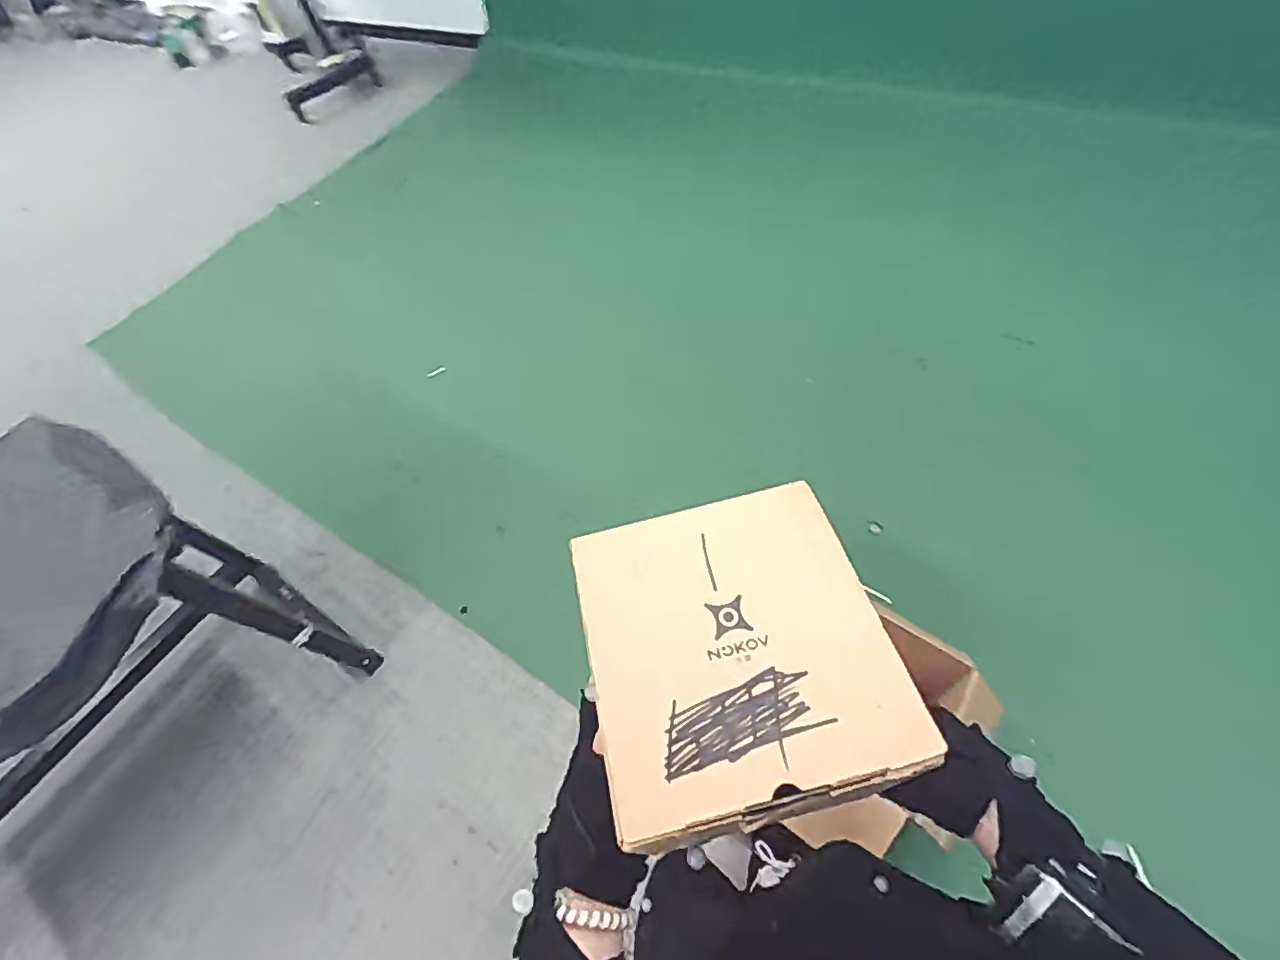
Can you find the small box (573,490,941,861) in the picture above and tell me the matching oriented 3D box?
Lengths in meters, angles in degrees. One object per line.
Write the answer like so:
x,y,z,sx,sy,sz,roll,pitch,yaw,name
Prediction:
0.061,0.138,0.372,0.168,0.176,0.179,-14,53,-3,small box
